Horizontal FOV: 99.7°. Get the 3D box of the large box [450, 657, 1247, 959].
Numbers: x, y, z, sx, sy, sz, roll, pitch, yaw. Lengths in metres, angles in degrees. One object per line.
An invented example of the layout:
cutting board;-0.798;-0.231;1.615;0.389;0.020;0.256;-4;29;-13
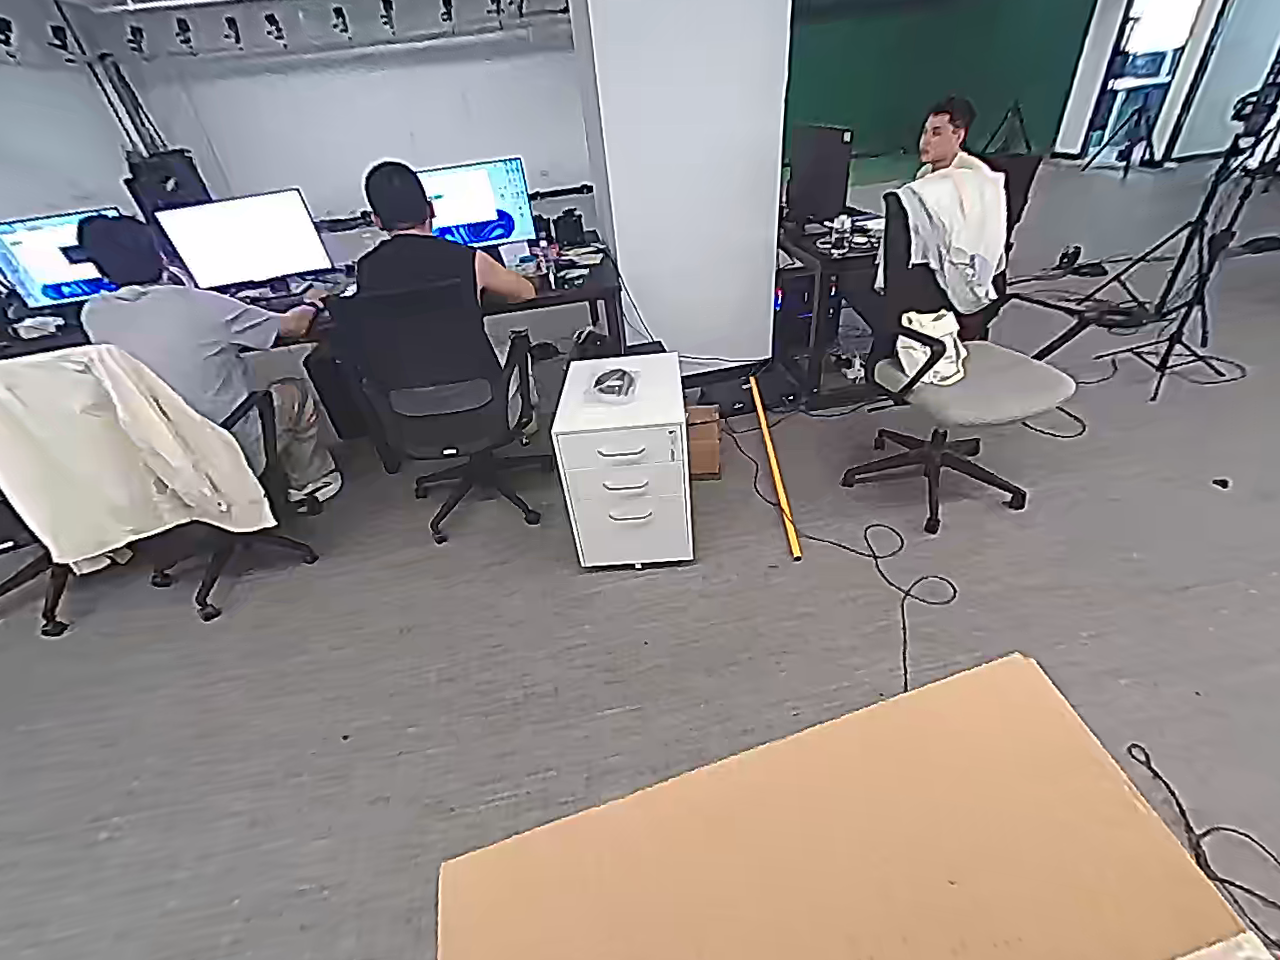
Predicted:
large box;0.136;0.383;0.369;0.408;0.320;0.320;-21;48;0
